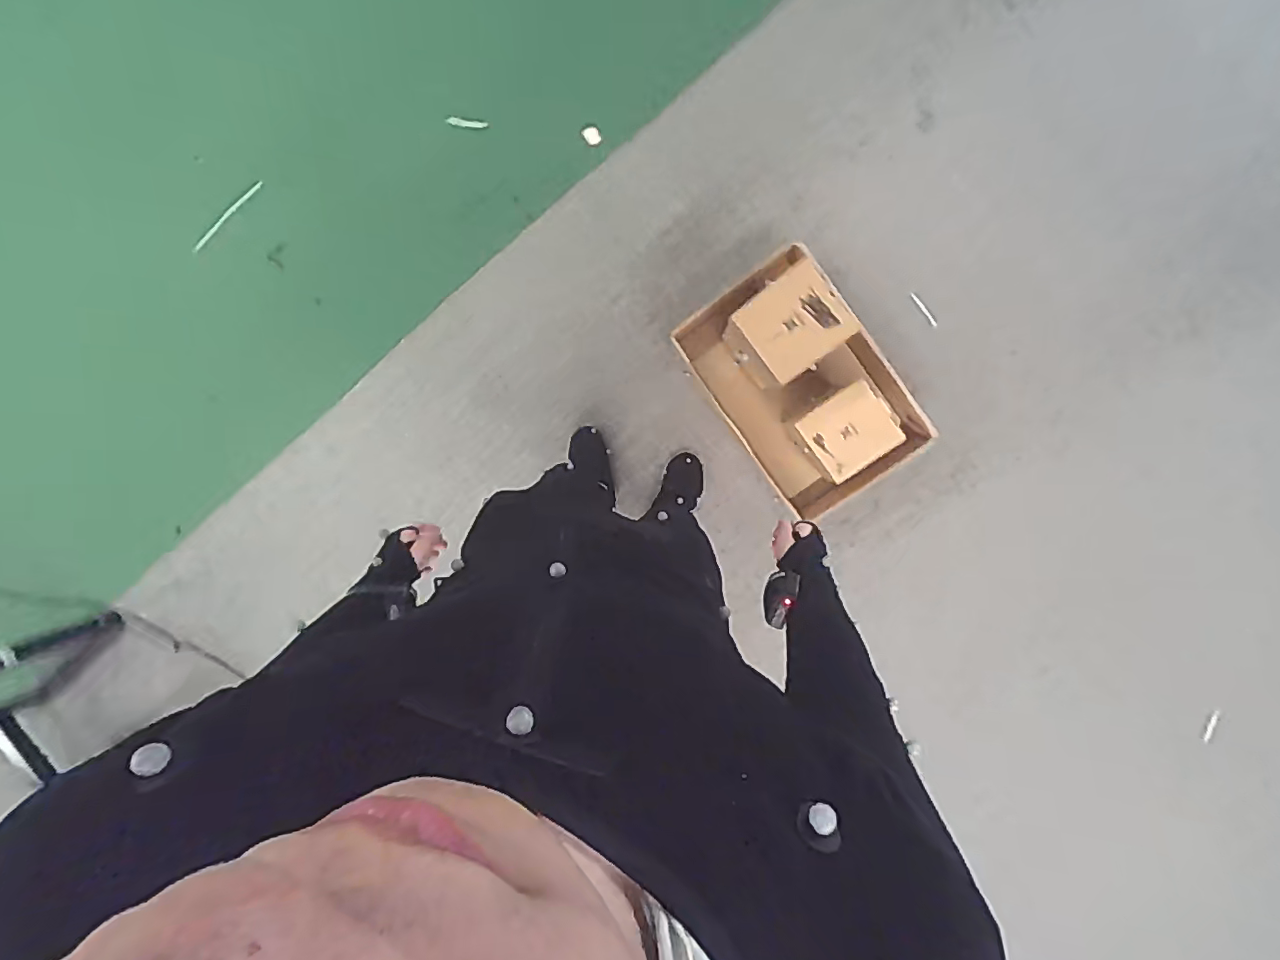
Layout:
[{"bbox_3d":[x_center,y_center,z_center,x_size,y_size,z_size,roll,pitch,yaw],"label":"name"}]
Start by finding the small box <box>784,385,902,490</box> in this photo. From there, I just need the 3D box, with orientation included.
[{"bbox_3d":[0.457,-0.099,1.249,0.179,0.176,0.168,-36,90,9],"label":"small box"}]

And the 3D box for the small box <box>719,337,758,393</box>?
[{"bbox_3d":[0.321,-0.338,1.401,0.179,0.176,0.168,-35,92,9],"label":"small box"}]

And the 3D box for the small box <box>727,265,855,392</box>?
[{"bbox_3d":[0.290,-0.291,1.080,0.179,0.176,0.168,-36,92,10],"label":"small box"}]

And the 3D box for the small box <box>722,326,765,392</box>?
[{"bbox_3d":[0.305,-0.315,1.243,0.179,0.176,0.168,-37,92,9],"label":"small box"}]
